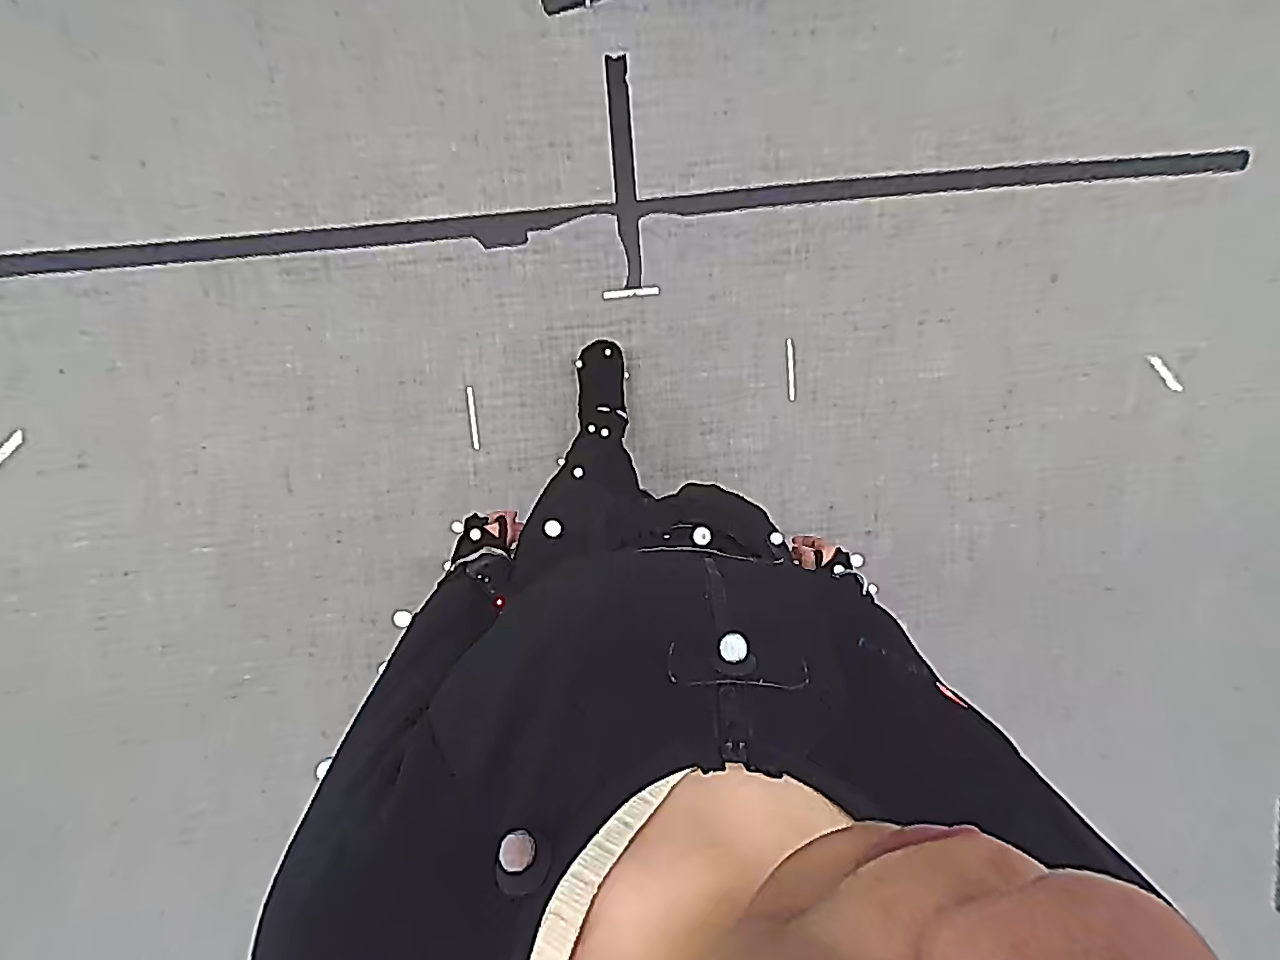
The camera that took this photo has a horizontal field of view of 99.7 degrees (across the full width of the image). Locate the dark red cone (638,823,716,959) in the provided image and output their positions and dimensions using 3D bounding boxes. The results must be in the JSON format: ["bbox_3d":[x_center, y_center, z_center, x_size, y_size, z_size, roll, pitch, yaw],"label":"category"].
[{"bbox_3d":[0.109,1.038,1.295,0.201,0.394,0.202,-6,97,-2],"label":"dark red cone"}]
